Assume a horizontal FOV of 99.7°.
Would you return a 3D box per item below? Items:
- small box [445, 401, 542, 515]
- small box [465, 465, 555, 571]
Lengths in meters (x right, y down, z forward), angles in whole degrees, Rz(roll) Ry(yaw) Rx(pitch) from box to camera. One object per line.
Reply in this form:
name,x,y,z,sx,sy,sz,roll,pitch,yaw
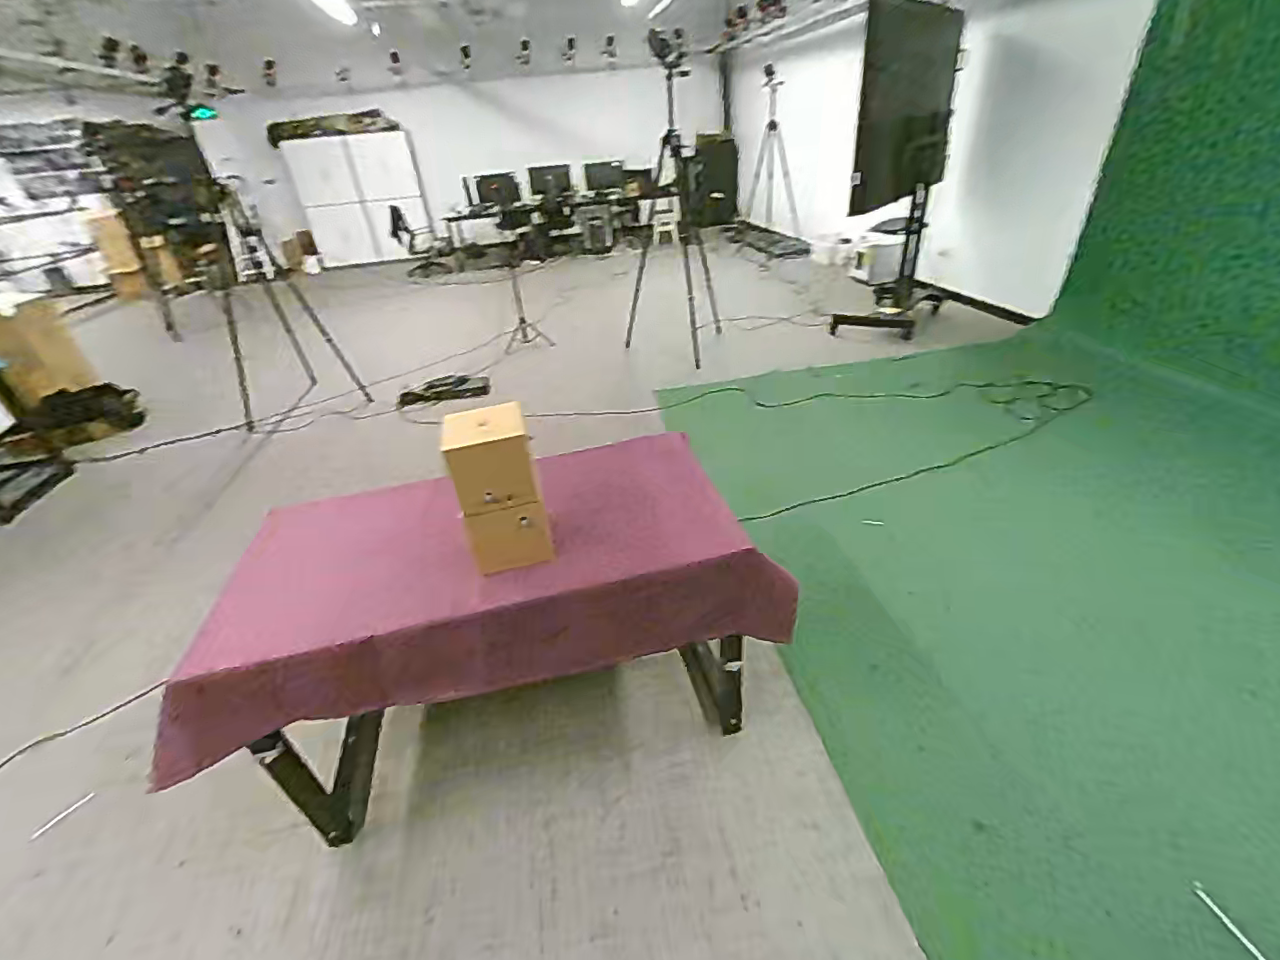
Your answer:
small box,-0.315,-0.050,1.178,0.168,0.176,0.179,-13,34,-9
small box,-0.298,0.088,1.264,0.179,0.176,0.168,-12,33,-8
